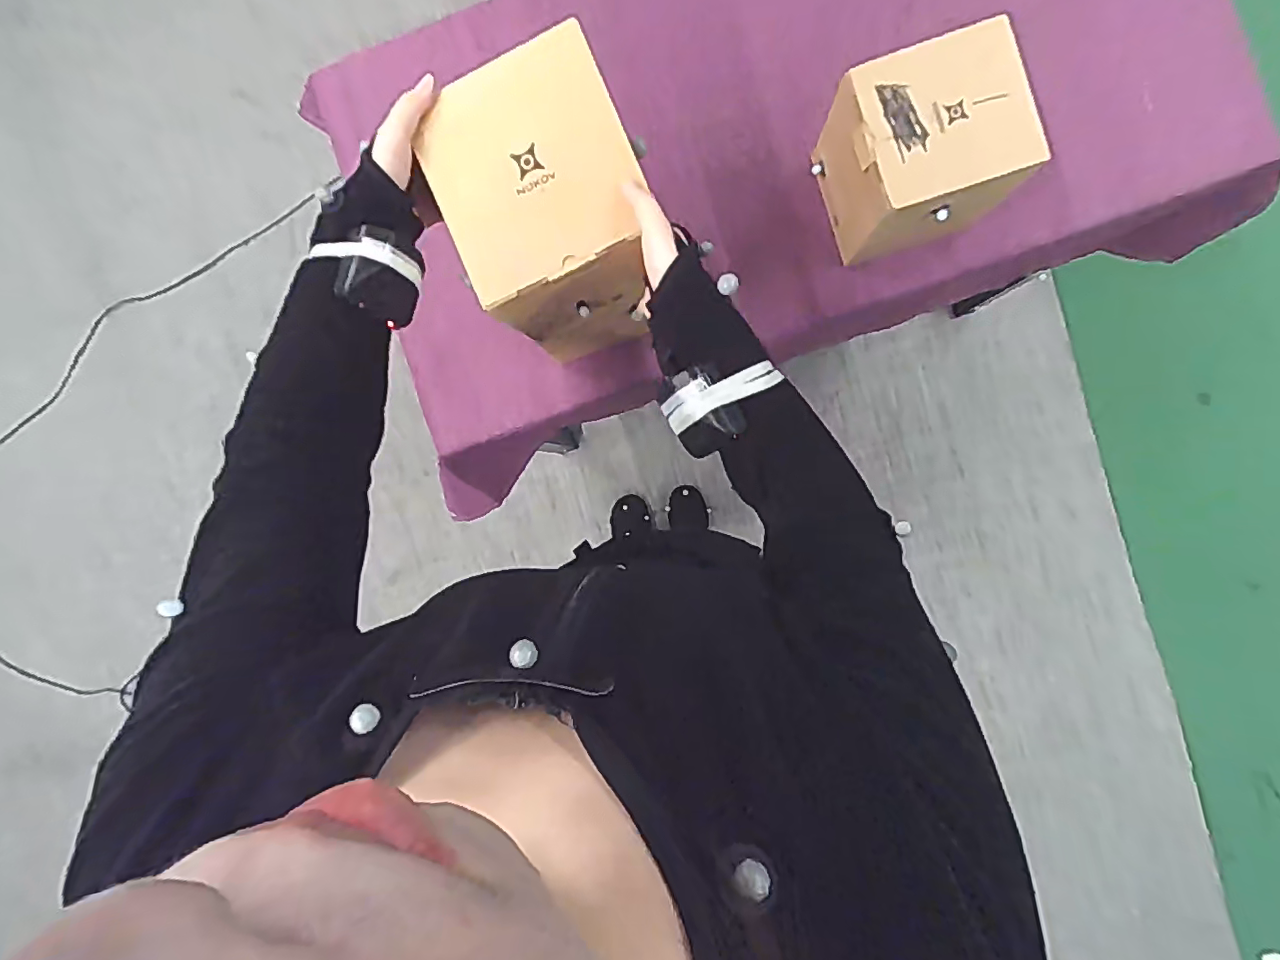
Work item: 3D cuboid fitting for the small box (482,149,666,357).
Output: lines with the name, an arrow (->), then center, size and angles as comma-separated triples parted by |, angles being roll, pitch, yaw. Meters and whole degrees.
small box -> -0.072, -0.275, 0.698 | 0.179, 0.176, 0.168 | -19, 89, 5

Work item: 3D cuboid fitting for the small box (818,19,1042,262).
small box -> 0.333, -0.394, 0.665 | 0.179, 0.176, 0.168 | -16, 90, 4
